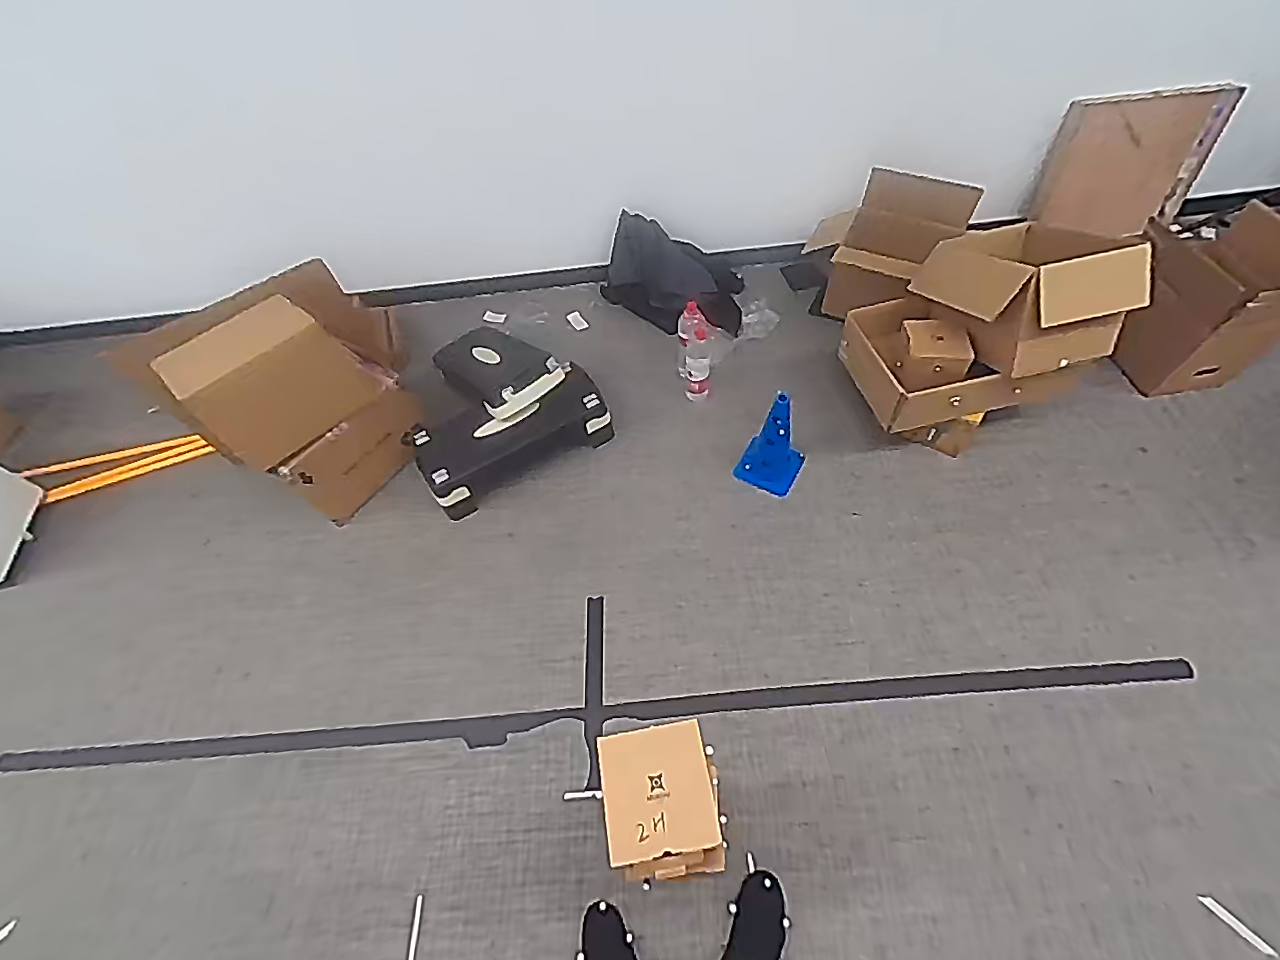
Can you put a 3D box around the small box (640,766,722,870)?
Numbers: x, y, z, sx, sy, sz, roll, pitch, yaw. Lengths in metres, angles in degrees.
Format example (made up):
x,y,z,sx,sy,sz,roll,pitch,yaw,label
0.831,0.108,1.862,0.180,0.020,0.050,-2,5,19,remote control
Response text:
x,y,z,sx,sy,sz,roll,pitch,yaw,label
0.084,0.712,1.145,0.168,0.176,0.179,-1,57,5,small box

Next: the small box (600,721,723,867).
x,y,z,sx,sy,sz,roll,pitch,yaw,label
0.033,0.515,0.884,0.168,0.176,0.179,-10,56,0,small box
